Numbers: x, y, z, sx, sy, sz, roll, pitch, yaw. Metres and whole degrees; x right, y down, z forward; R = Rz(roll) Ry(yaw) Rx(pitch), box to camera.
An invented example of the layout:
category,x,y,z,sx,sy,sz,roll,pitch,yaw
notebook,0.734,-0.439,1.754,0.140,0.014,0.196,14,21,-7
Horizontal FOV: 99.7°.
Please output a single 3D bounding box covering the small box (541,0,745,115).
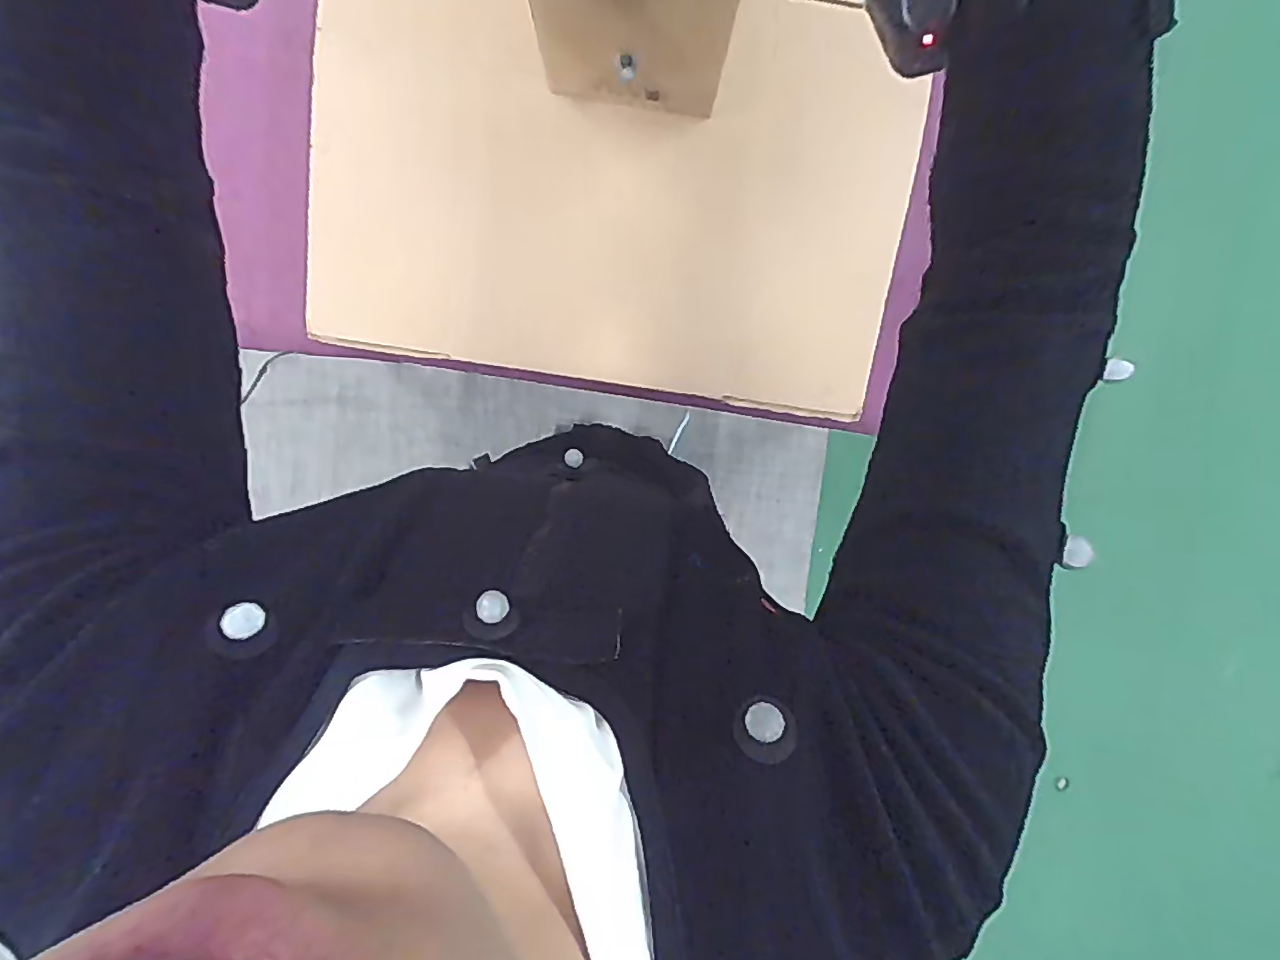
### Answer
category,x,y,z,sx,sy,sz,roll,pitch,yaw
small box,0.008,-0.453,0.448,0.168,0.176,0.179,9,94,-2
